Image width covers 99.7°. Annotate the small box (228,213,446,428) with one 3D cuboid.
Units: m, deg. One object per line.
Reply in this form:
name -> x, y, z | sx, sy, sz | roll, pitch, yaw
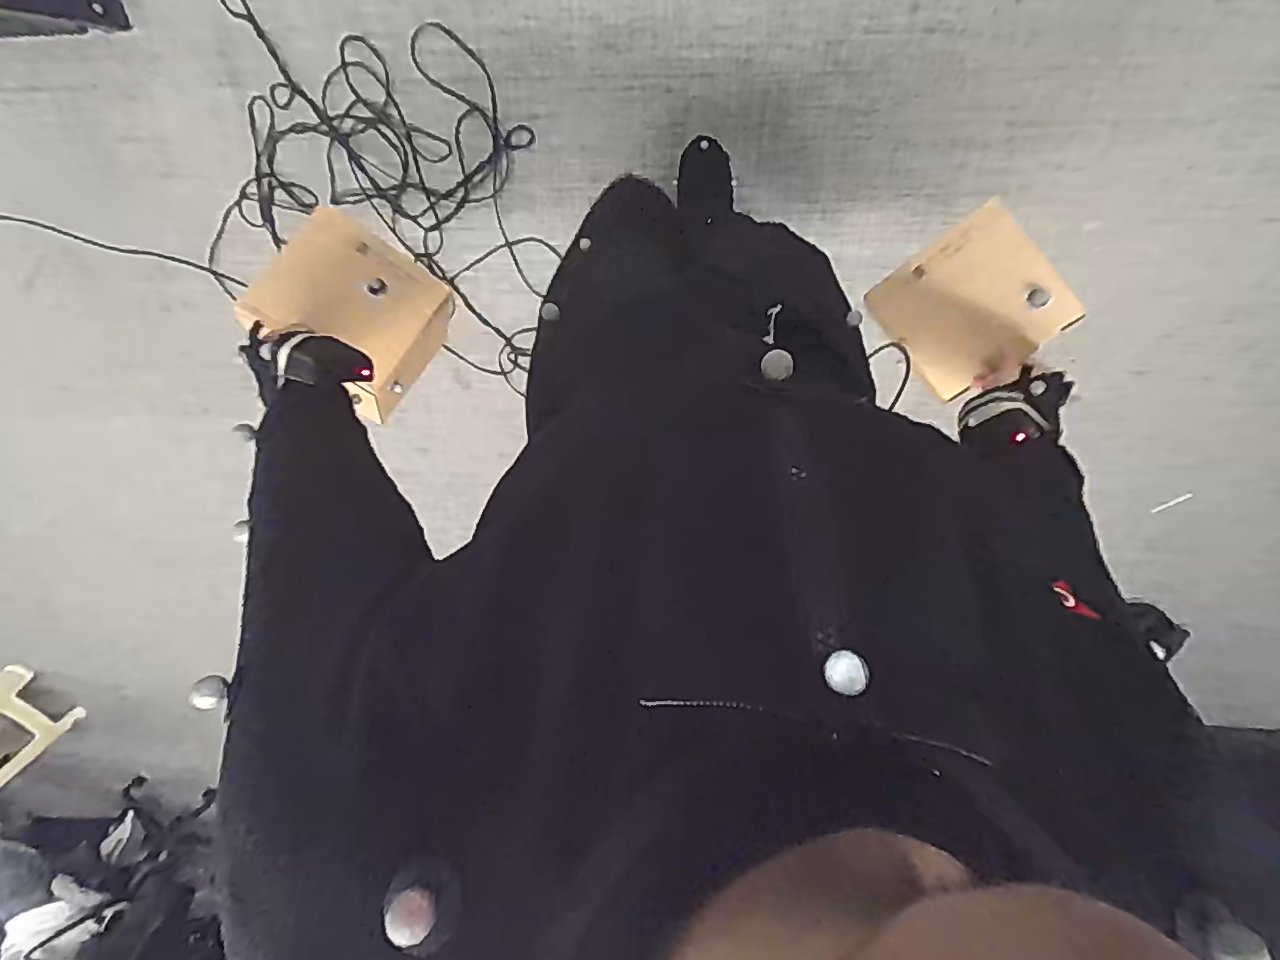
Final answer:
small box -> -0.368, -0.194, 0.696 | 0.168, 0.176, 0.179 | 32, 163, -15
